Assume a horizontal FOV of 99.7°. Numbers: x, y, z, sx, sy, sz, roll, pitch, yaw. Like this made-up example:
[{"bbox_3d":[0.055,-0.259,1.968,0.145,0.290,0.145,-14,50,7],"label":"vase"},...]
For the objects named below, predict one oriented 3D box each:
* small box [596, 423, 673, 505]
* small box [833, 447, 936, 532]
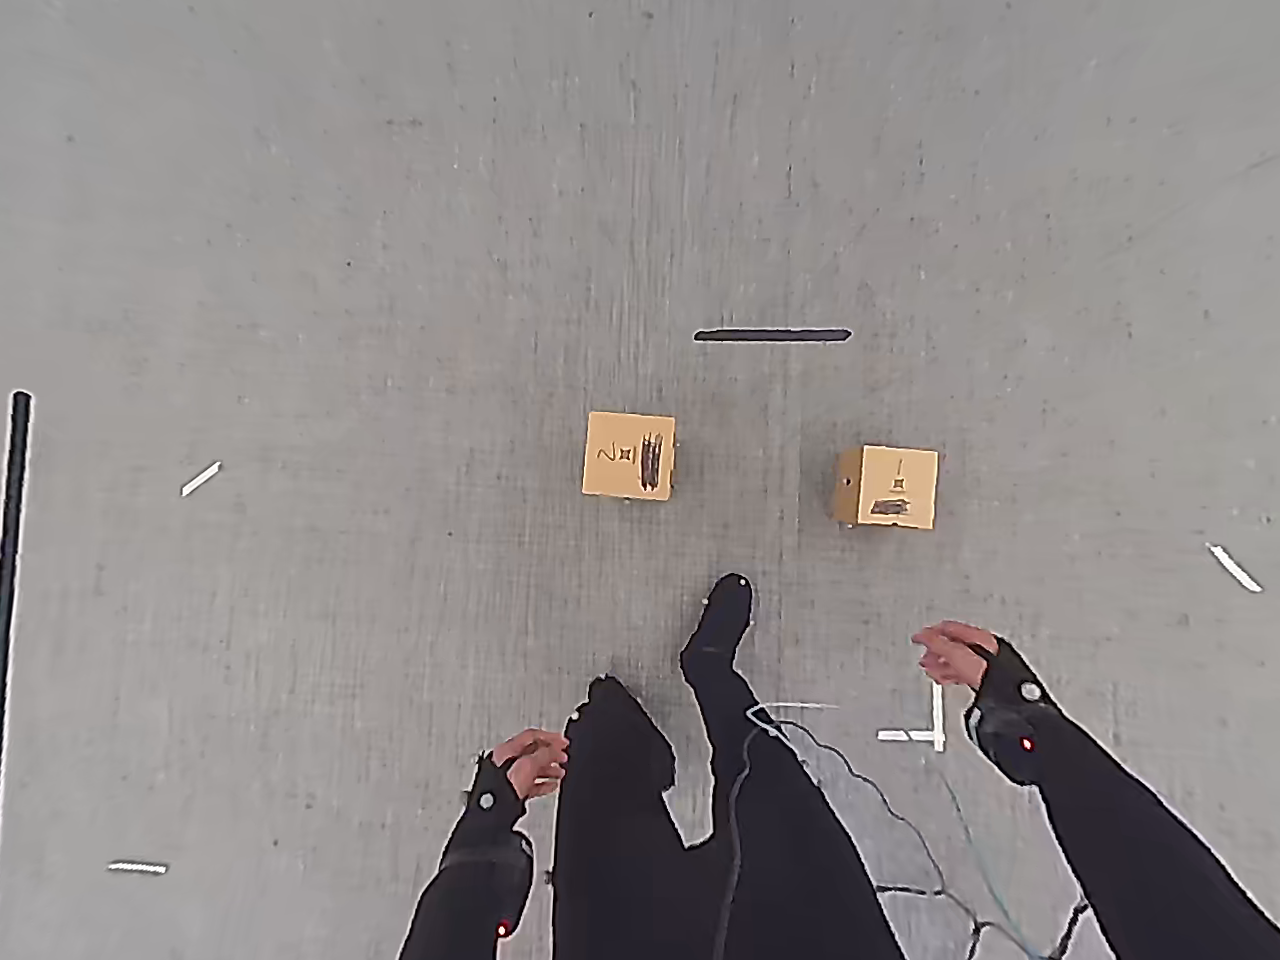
[{"bbox_3d":[-0.008,-0.033,1.294,0.168,0.176,0.179,4,87,3],"label":"small box"},{"bbox_3d":[0.562,0.023,1.262,0.168,0.176,0.179,5,87,2],"label":"small box"}]
